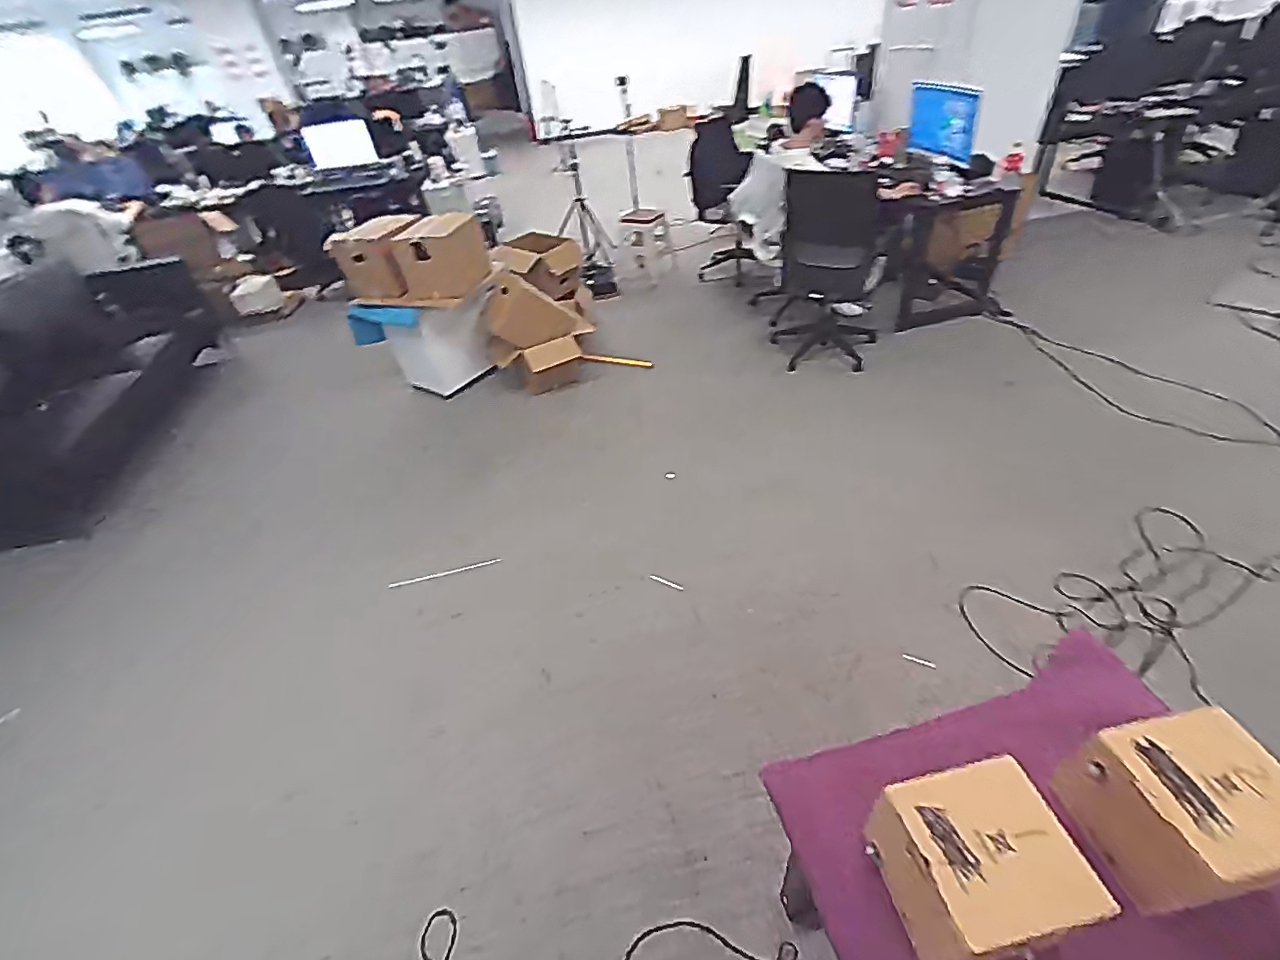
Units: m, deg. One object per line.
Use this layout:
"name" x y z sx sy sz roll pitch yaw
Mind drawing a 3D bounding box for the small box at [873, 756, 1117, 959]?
"small box" 0.413 0.478 0.672 0.179 0.176 0.168 -10 41 -6
